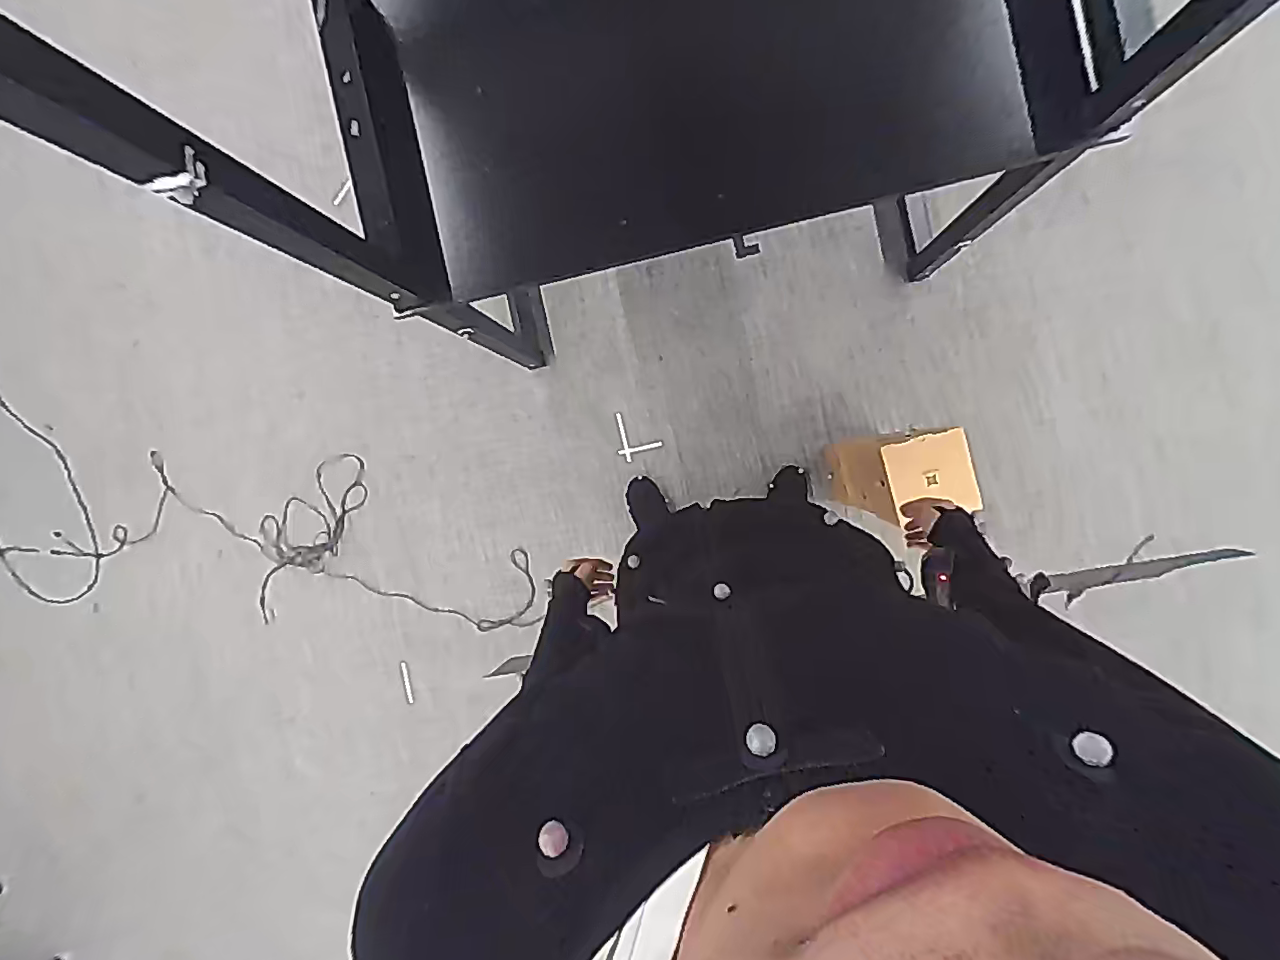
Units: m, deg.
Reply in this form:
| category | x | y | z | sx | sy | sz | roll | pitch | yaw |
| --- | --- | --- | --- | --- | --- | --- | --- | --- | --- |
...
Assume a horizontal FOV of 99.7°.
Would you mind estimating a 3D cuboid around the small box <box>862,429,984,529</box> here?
| category | x | y | z | sx | sy | sz | roll | pitch | yaw |
| --- | --- | --- | --- | --- | --- | --- | --- | --- | --- |
| small box | 0.600 | -0.007 | 1.167 | 0.168 | 0.176 | 0.179 | -15 | 91 | 7 |

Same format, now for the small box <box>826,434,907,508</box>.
| category | x | y | z | sx | sy | sz | roll | pitch | yaw |
| --- | --- | --- | --- | --- | --- | --- | --- | --- | --- |
| small box | 0.634 | -0.027 | 1.491 | 0.179 | 0.176 | 0.168 | -13 | 91 | 8 |
